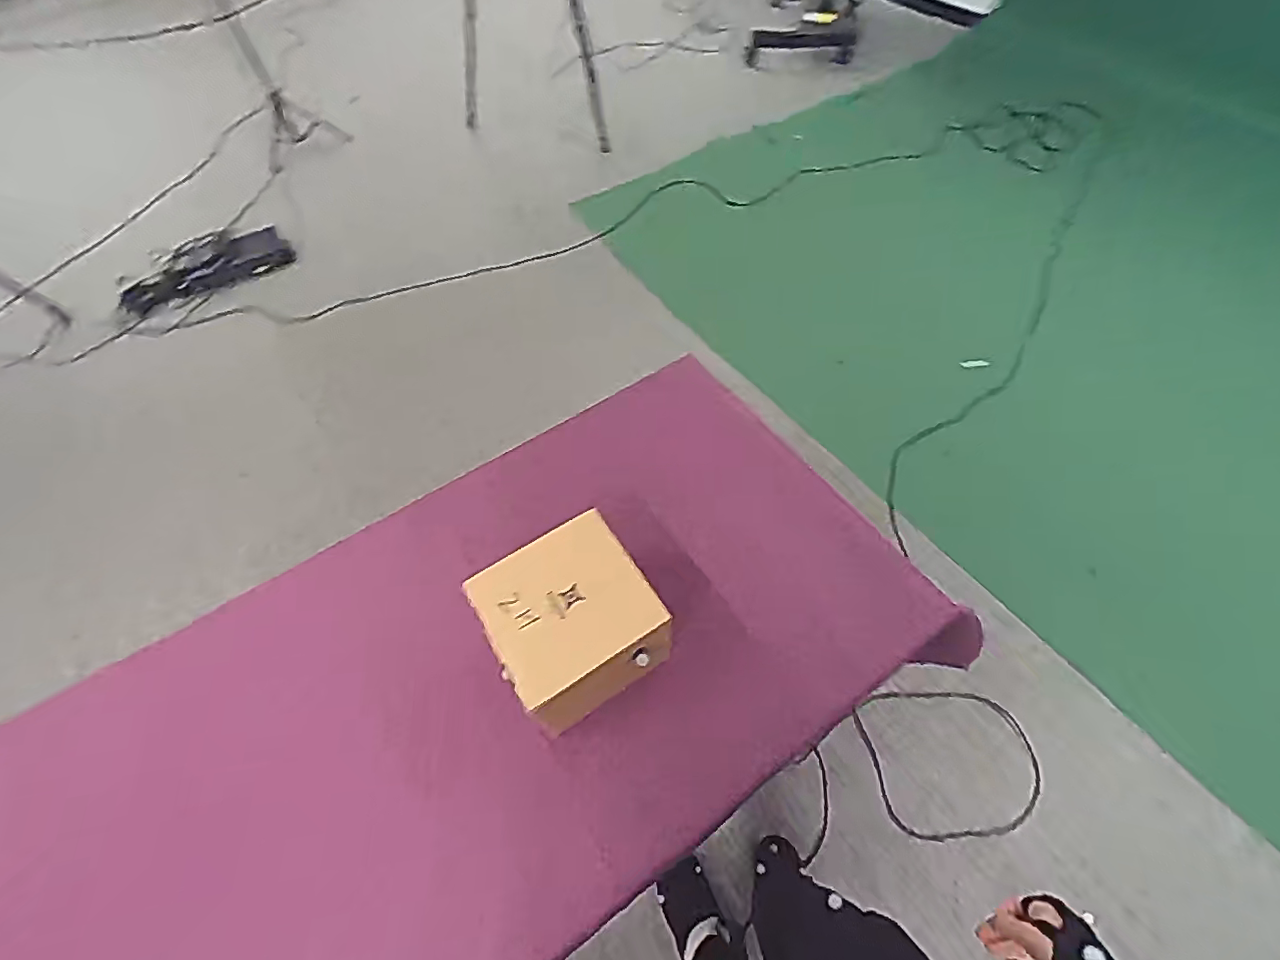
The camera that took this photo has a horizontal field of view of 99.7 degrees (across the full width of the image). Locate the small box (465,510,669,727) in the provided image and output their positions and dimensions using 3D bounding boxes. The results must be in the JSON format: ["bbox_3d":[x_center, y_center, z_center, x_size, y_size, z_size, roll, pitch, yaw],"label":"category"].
[{"bbox_3d":[-0.082,0.173,0.662,0.179,0.176,0.168,-31,61,-15],"label":"small box"}]
